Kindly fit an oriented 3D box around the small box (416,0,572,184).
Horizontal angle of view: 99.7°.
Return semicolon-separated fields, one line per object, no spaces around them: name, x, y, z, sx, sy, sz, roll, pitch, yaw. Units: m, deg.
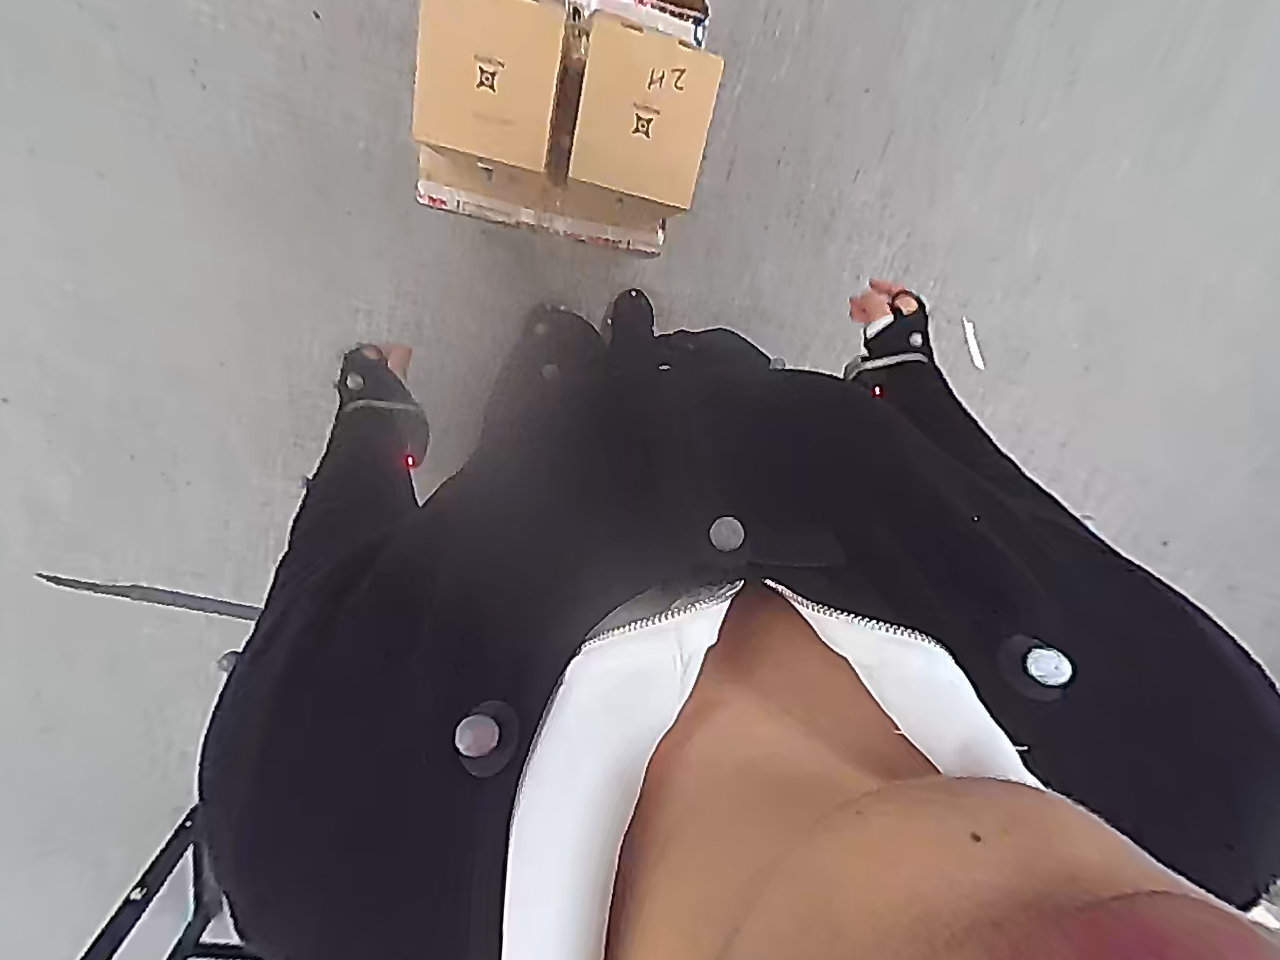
small box;-0.186;-0.518;0.724;0.168;0.176;0.179;10;113;-8

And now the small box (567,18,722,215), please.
small box;-0.003;-0.483;0.754;0.168;0.176;0.179;10;111;-11
